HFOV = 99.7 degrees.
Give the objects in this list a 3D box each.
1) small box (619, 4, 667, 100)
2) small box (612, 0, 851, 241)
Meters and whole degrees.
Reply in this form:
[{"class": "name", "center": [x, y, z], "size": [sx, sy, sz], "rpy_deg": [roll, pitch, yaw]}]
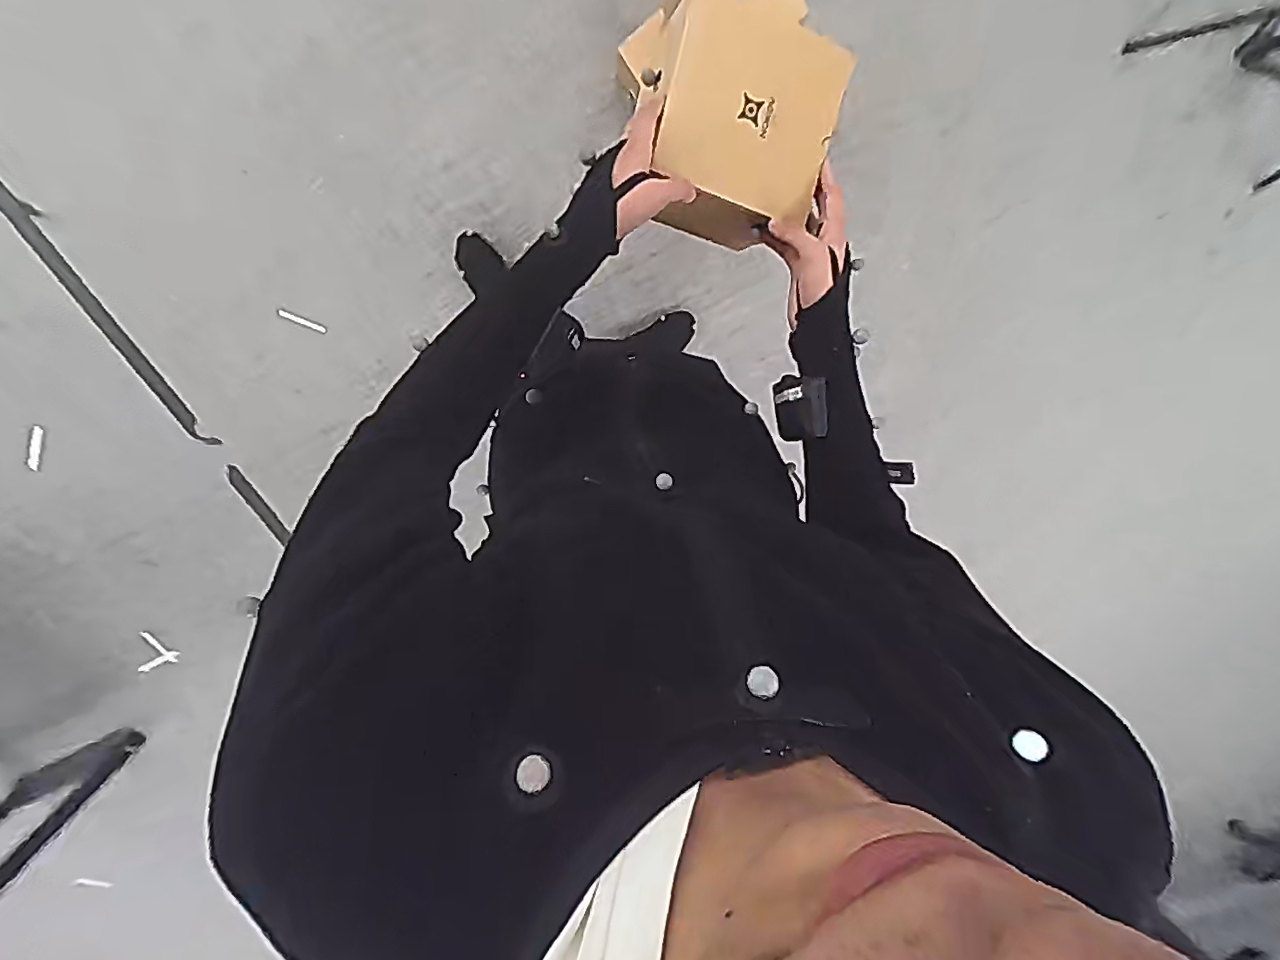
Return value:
[{"class": "small box", "center": [0.064, -0.935, 1.229], "size": [0.179, 0.176, 0.168], "rpy_deg": [-36, 109, 9]}, {"class": "small box", "center": [0.080, -0.369, 0.574], "size": [0.179, 0.176, 0.168], "rpy_deg": [10, 103, -18]}]
